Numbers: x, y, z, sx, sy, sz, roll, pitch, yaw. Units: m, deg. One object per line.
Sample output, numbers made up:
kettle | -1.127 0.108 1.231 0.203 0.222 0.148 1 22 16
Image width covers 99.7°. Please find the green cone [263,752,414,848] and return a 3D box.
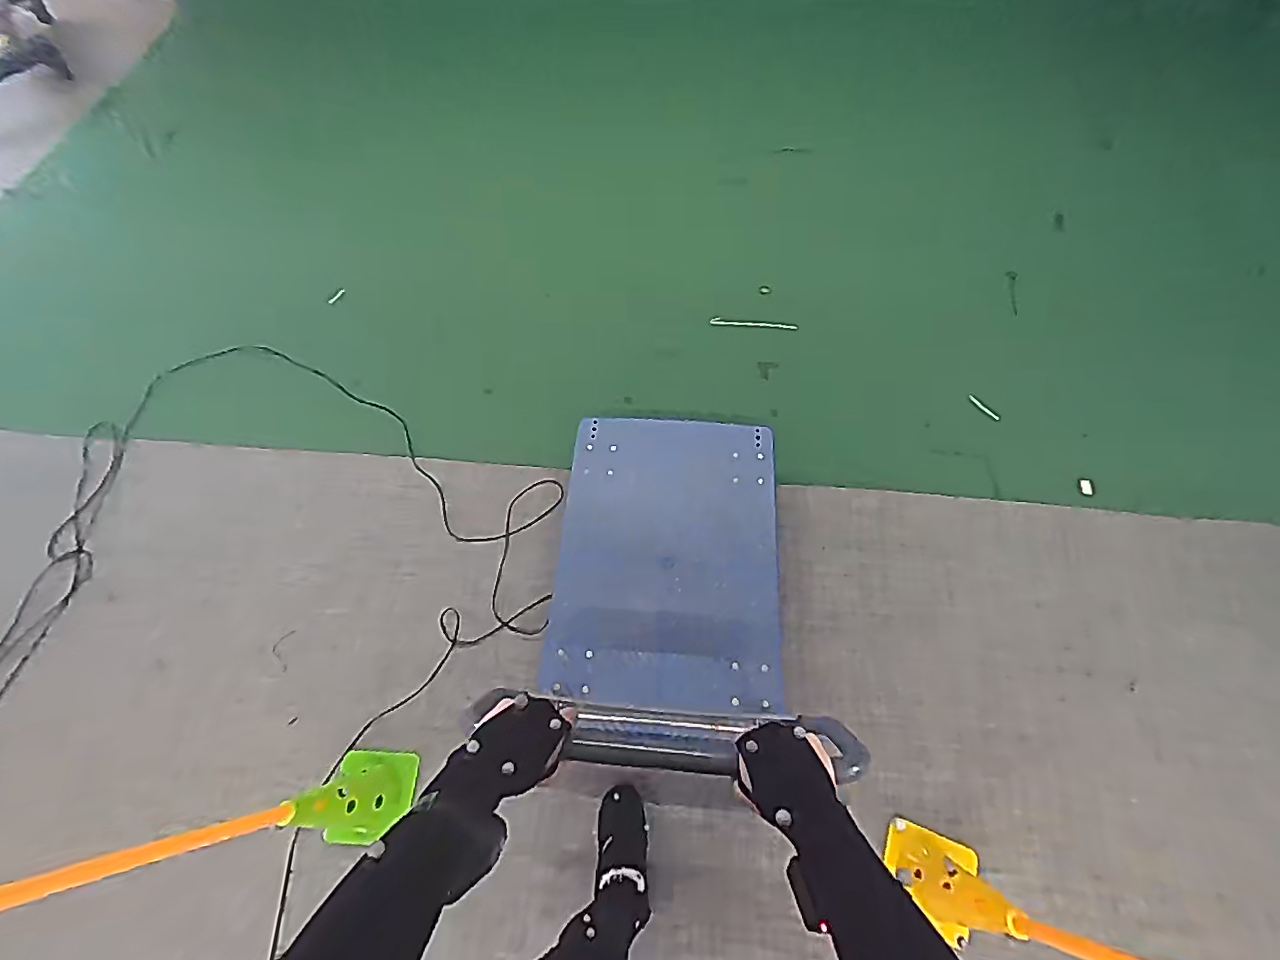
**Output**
green cone | -0.677 0.707 1.178 0.202 0.368 0.200 0 63 4
